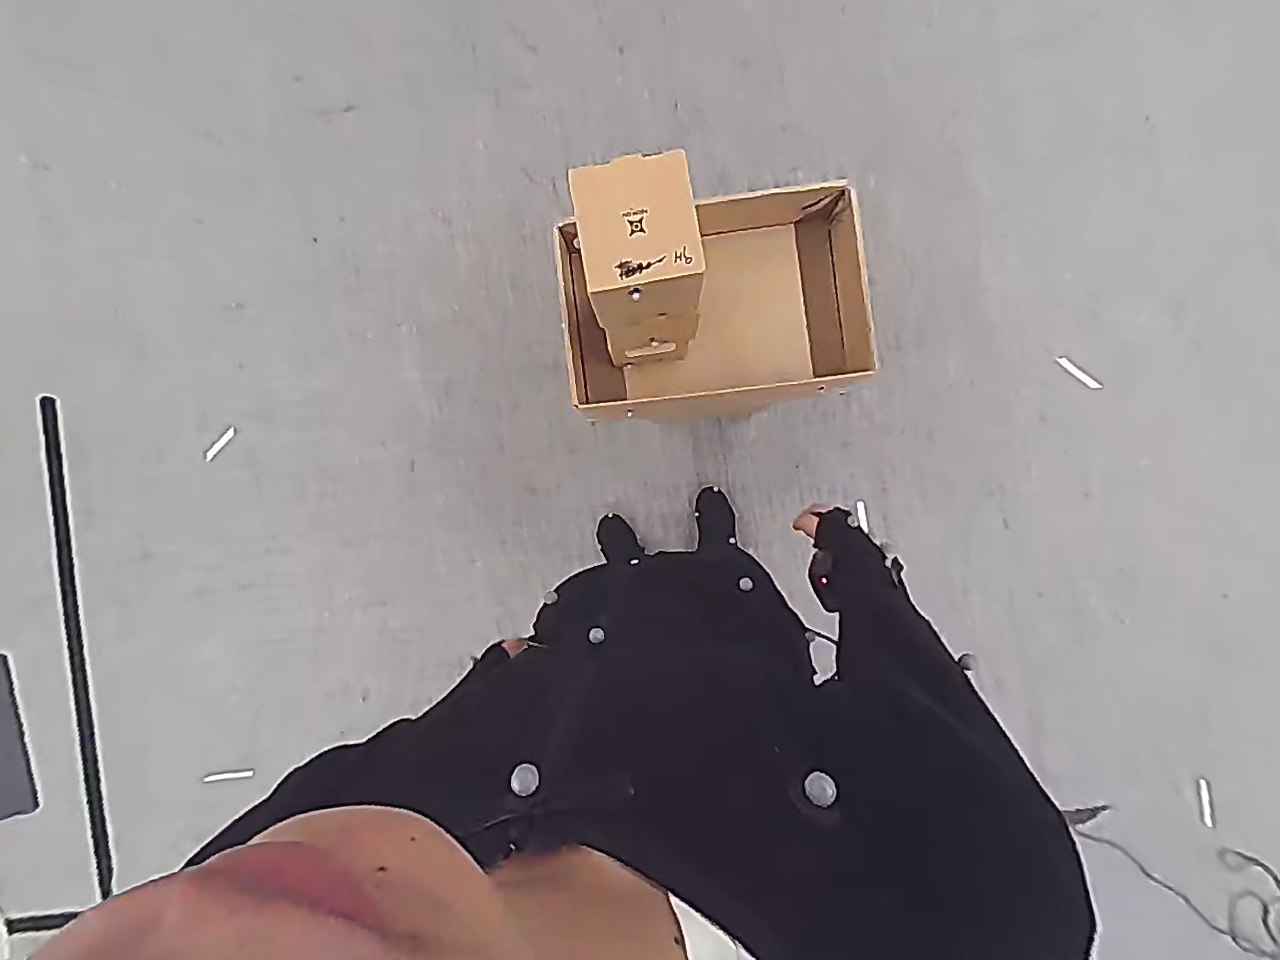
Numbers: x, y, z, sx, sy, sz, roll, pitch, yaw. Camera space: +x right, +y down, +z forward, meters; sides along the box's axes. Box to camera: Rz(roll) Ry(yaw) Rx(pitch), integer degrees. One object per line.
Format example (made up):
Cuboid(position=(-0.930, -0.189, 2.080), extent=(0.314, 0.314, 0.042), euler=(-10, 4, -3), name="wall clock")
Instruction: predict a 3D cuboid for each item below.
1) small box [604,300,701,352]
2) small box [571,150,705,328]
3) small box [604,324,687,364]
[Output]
Cuboid(position=(0.011, -0.348, 0.978), extent=(0.168, 0.176, 0.179), euler=(-9, 90, 2), name="small box")
Cuboid(position=(-0.001, -0.350, 0.813), extent=(0.168, 0.176, 0.179), euler=(-9, 88, 2), name="small box")
Cuboid(position=(0.010, -0.350, 1.142), extent=(0.168, 0.176, 0.179), euler=(-8, 88, 2), name="small box")
